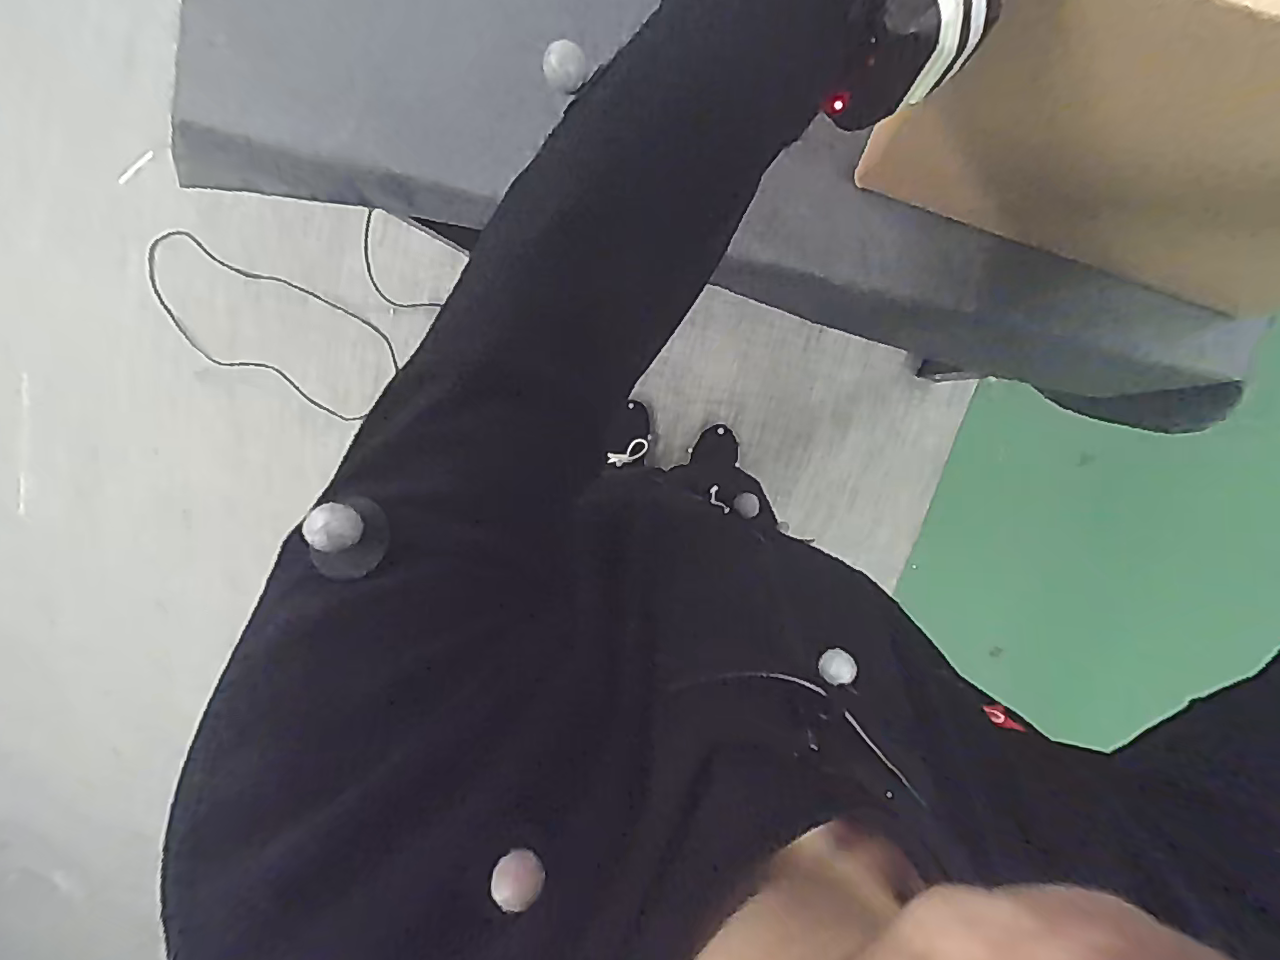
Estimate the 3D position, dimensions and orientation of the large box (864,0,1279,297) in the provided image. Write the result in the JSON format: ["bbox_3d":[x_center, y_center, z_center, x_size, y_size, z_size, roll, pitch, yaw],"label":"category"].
[{"bbox_3d":[0.437,-0.359,0.363,0.408,0.320,0.320,21,102,3],"label":"large box"}]
